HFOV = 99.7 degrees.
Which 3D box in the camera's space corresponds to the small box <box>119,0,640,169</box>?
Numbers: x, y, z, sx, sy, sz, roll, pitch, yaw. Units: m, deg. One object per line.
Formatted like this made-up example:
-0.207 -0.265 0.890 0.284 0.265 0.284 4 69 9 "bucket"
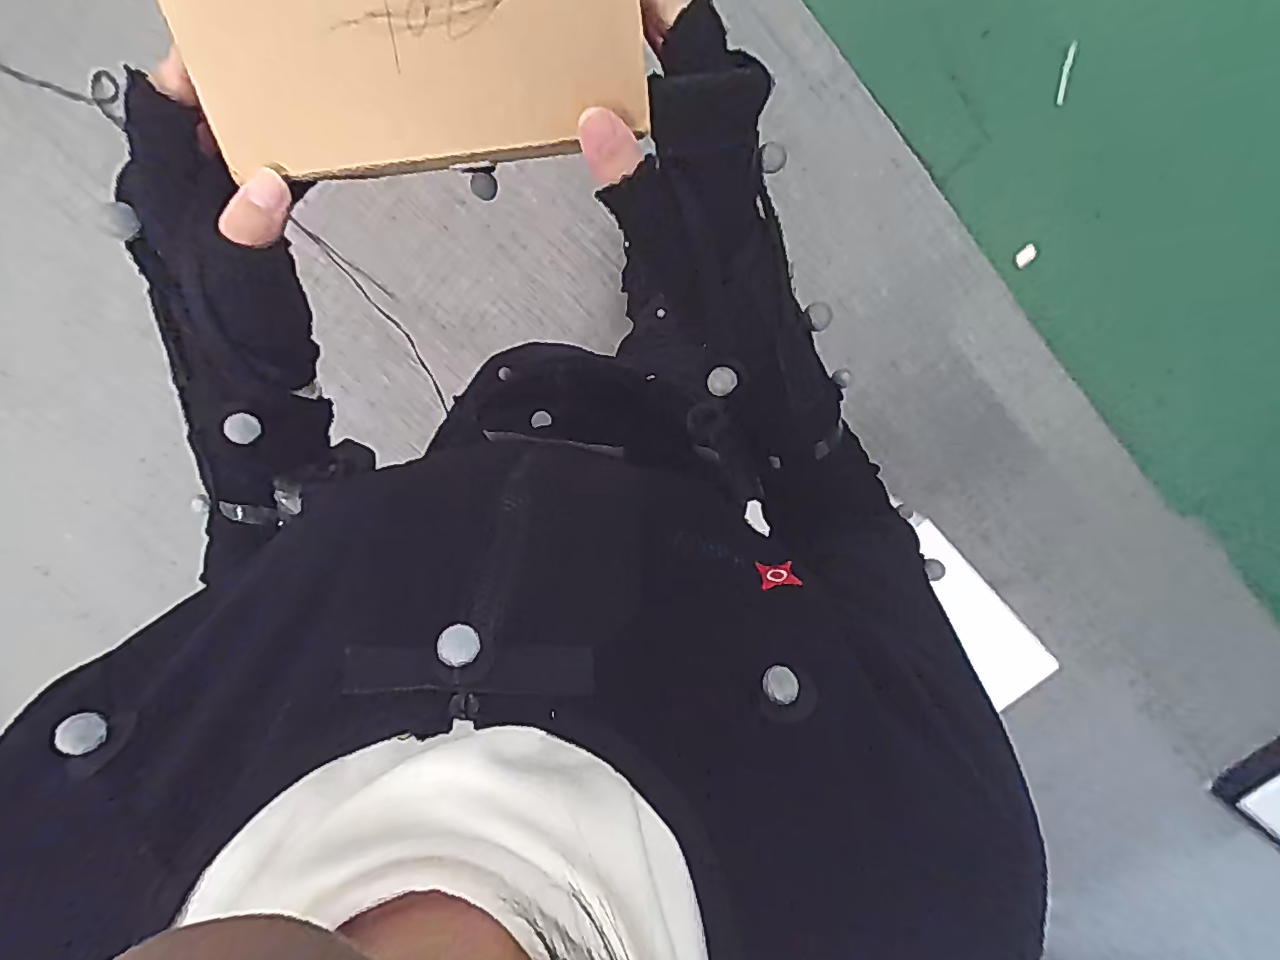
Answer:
-0.095 -0.238 0.223 0.168 0.176 0.179 -8 120 1 "small box"
